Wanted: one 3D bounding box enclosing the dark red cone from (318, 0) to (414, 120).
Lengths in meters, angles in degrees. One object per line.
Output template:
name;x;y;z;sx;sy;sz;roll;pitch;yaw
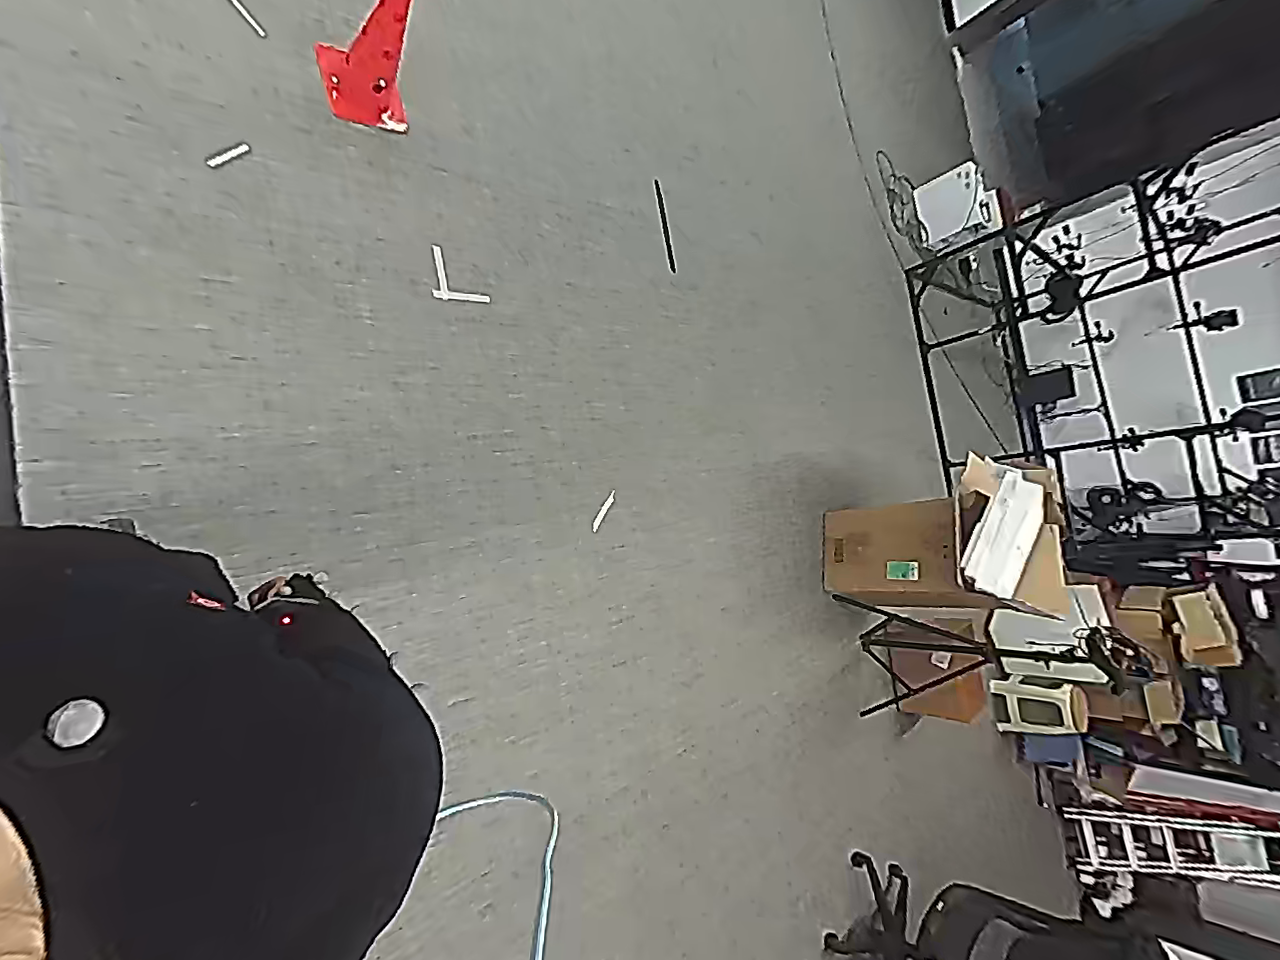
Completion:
dark red cone;-0.620;-1.087;1.305;0.201;0.394;0.202;-16;93;-41
